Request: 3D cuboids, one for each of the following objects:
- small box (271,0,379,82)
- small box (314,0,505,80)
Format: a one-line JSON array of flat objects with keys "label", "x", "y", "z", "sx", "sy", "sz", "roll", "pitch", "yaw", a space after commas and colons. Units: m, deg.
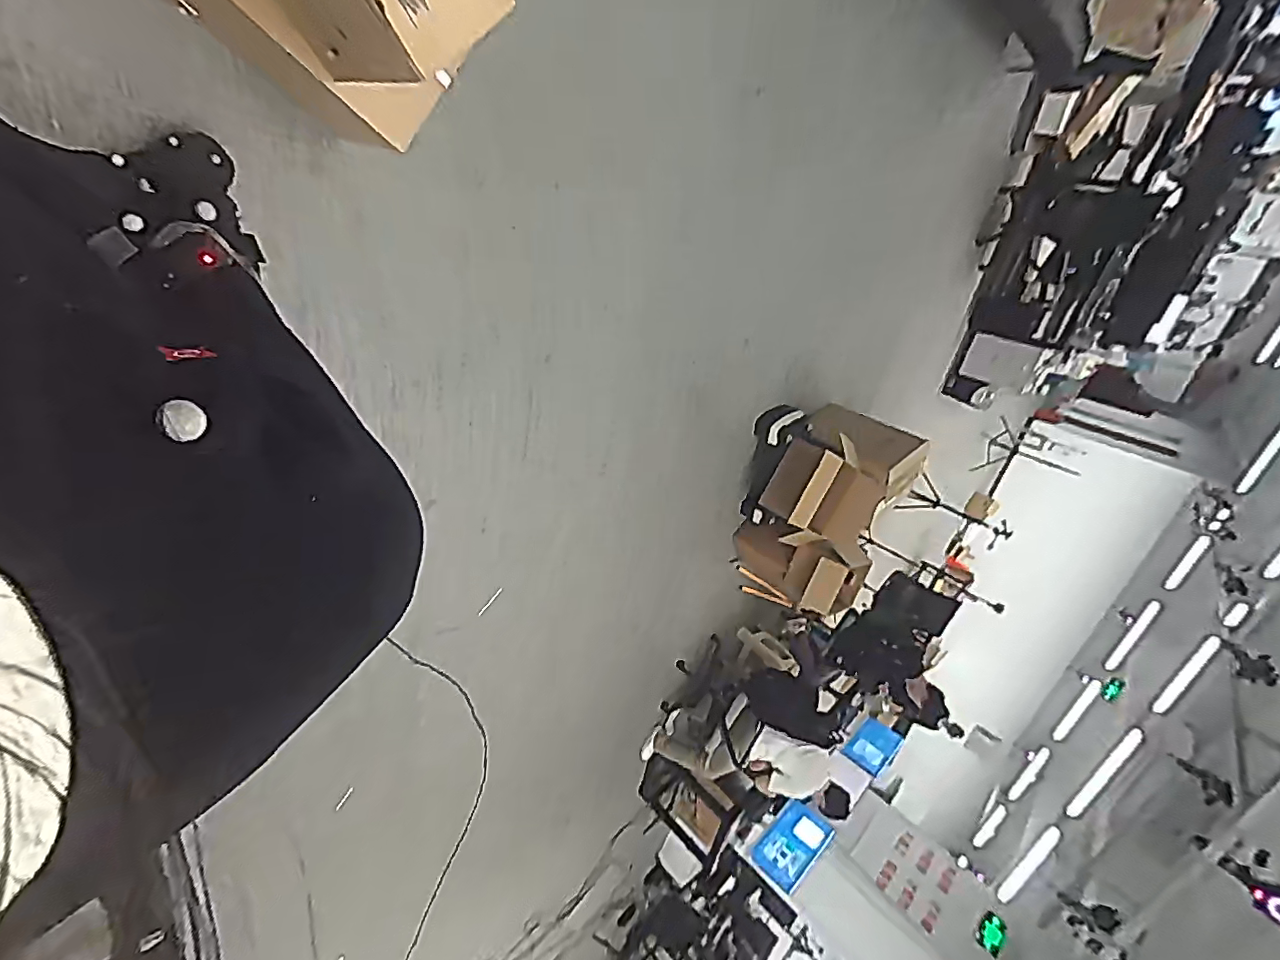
[{"label": "small box", "x": -0.421, "y": -0.711, "z": 0.772, "sx": 0.168, "sy": 0.176, "sz": 0.179, "roll": -50, "pitch": 143, "yaw": -12}, {"label": "small box", "x": -0.311, "y": -0.637, "z": 0.674, "sx": 0.179, "sy": 0.176, "sz": 0.168, "roll": -51, "pitch": 144, "yaw": -9}]
